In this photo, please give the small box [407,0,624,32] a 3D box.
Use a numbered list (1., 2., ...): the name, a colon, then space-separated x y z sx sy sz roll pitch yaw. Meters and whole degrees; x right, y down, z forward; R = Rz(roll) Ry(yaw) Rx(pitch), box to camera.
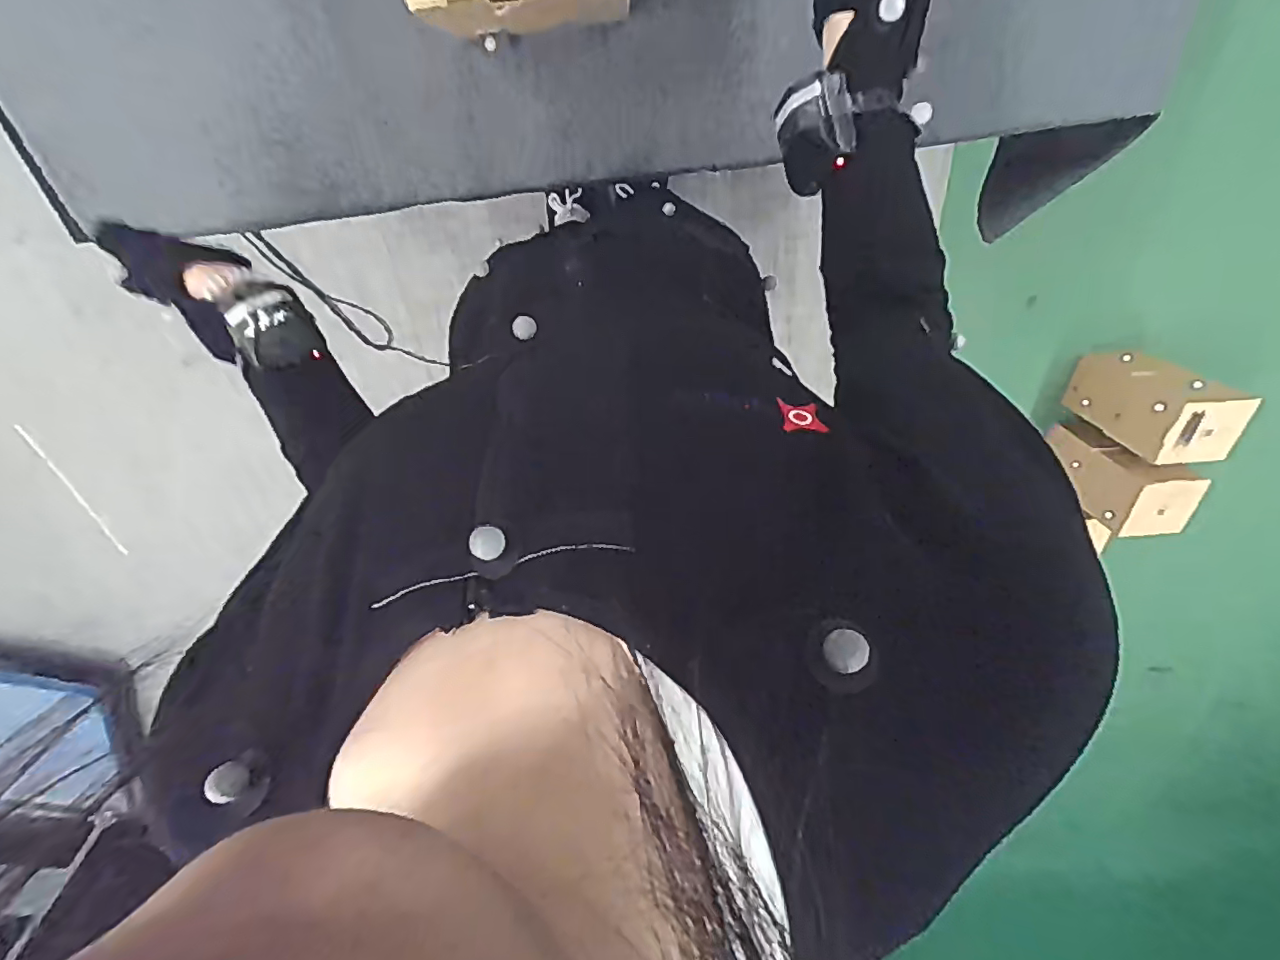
1. small box: -0.101 -0.471 0.416 0.168 0.176 0.179 -6 122 2
